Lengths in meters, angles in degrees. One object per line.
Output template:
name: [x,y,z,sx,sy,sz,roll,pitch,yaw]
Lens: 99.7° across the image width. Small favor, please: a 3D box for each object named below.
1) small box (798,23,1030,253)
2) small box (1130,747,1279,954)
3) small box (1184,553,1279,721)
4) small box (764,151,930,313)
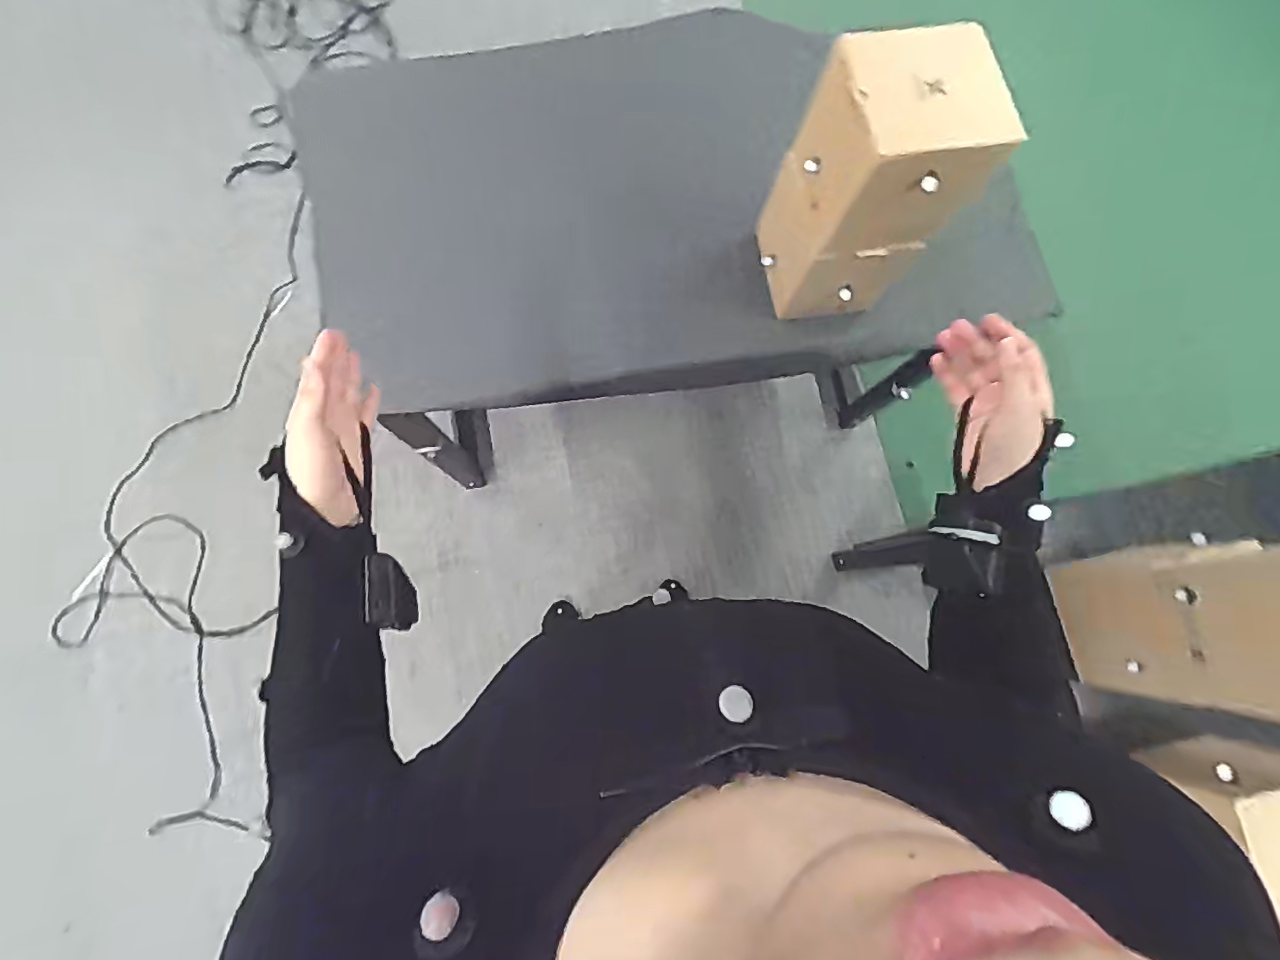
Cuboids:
small box: [0.320,-0.410,0.669,0.179,0.176,0.168,-10,77,-4]
small box: [0.782,0.460,0.686,0.179,0.176,0.168,-8,80,-5]
small box: [0.746,0.165,0.576,0.179,0.176,0.168,-8,80,-6]
small box: [0.302,-0.371,0.827,0.168,0.176,0.179,-8,78,-4]
